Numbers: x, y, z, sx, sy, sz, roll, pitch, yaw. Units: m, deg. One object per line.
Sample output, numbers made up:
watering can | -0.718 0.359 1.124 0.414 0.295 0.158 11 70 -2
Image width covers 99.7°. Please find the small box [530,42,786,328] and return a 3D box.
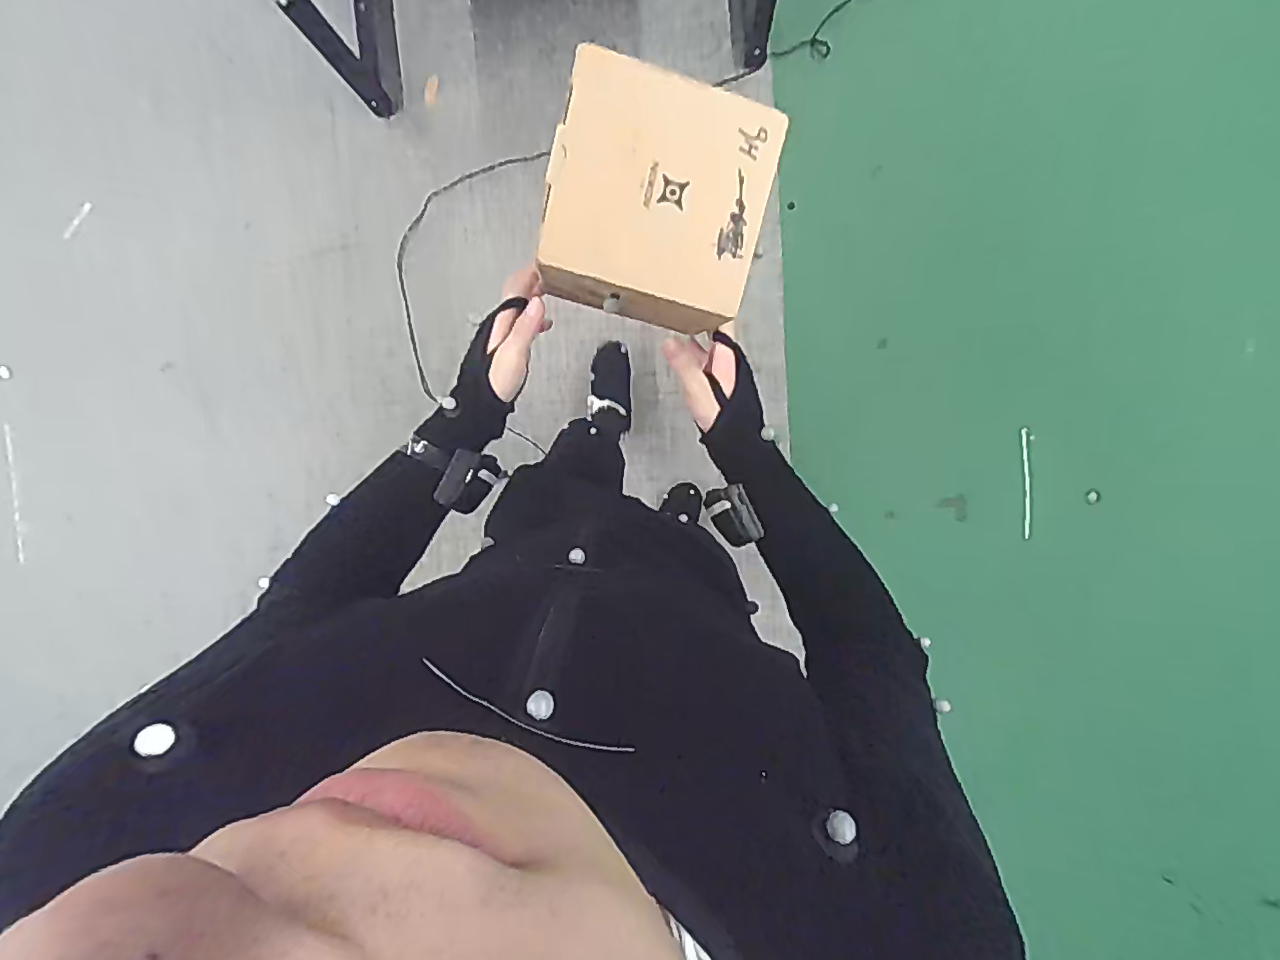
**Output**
small box | 0.006 -0.250 0.510 0.179 0.176 0.168 13 98 -8
